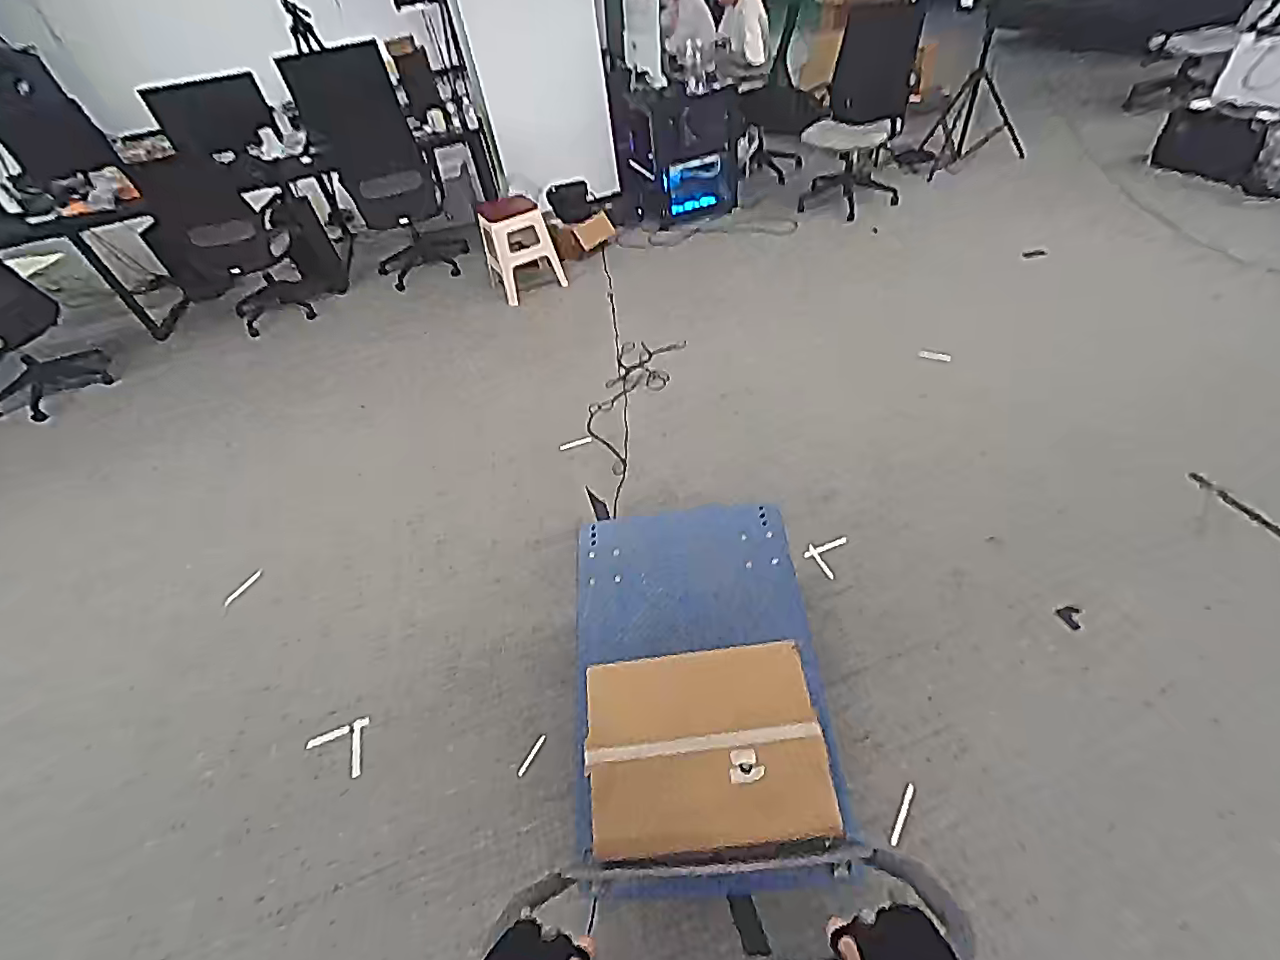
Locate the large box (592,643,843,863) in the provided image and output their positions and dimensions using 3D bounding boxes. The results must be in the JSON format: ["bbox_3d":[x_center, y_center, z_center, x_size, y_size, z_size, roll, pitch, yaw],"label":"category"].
[{"bbox_3d":[0.133,0.549,1.080,0.408,0.320,0.320,-8,57,2],"label":"large box"}]
